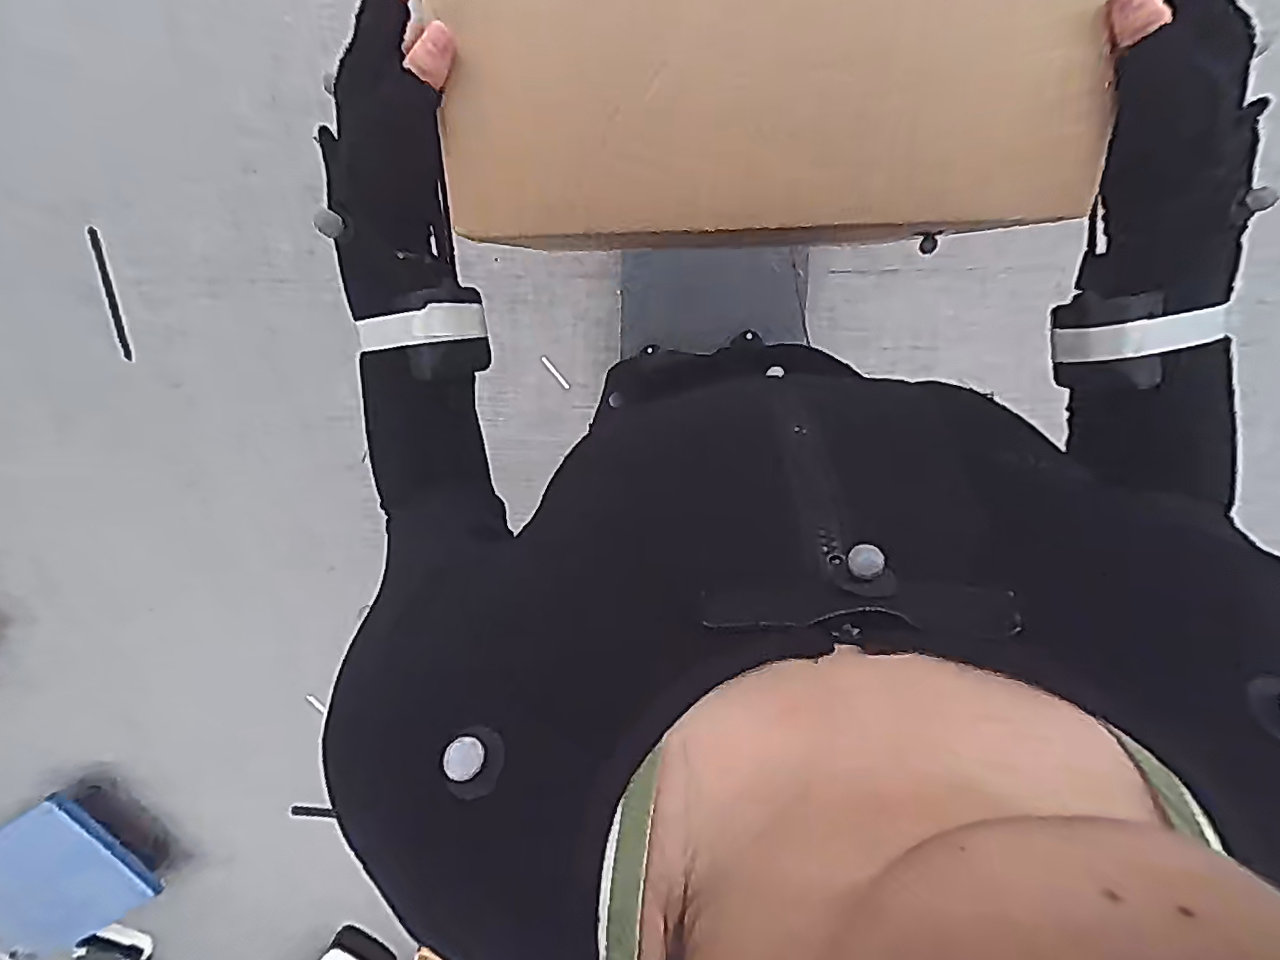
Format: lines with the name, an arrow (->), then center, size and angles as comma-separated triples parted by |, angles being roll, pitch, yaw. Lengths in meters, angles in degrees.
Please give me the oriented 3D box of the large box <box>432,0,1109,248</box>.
large box -> 0.079, -0.367, 0.443 | 0.408, 0.320, 0.320 | -1, 111, 2
